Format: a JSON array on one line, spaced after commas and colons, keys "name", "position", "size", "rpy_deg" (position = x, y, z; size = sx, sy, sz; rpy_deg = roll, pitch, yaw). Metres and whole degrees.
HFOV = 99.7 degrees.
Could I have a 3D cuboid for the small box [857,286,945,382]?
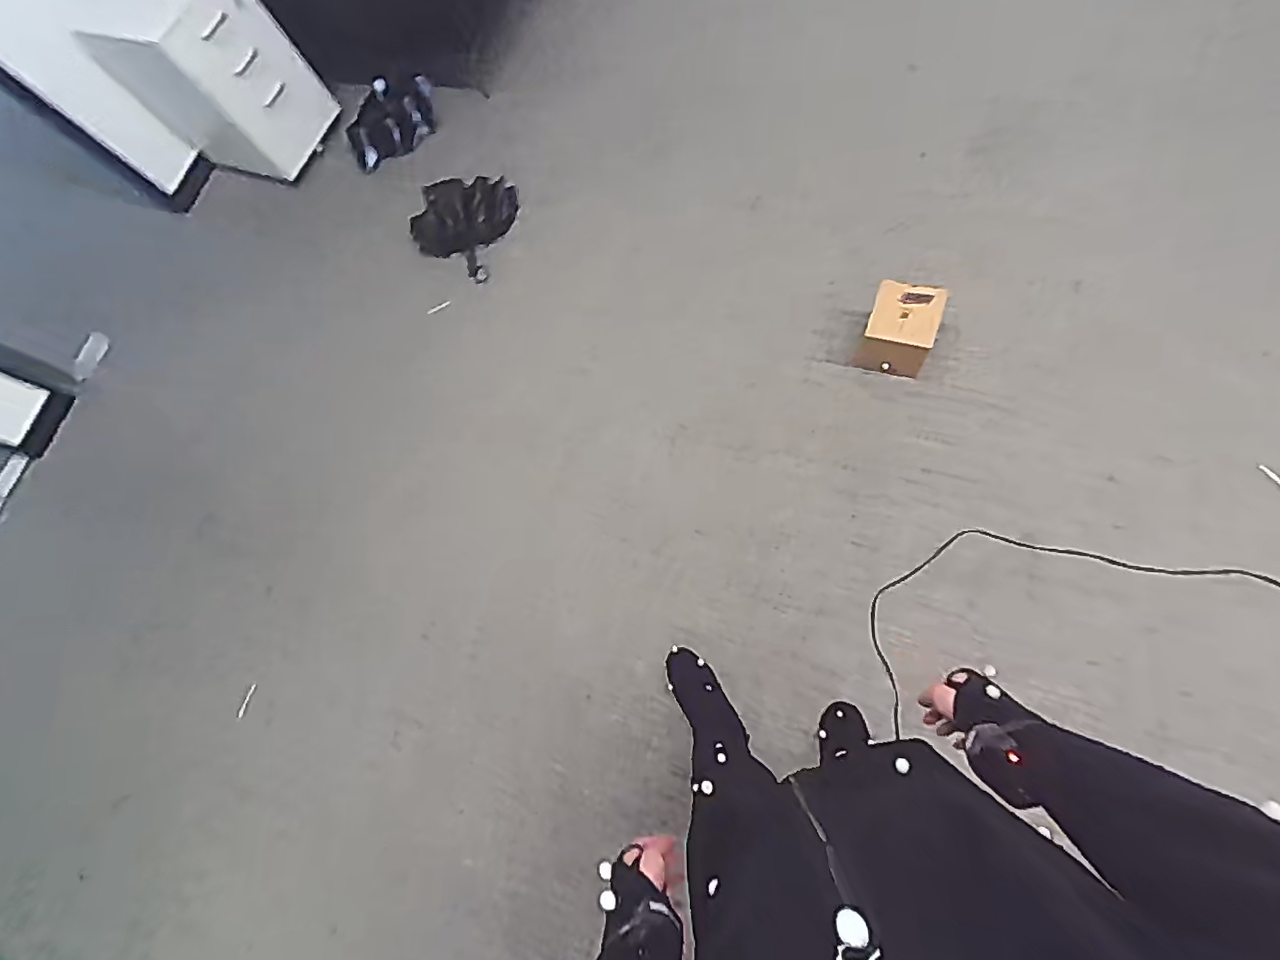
[{"name": "small box", "position": [0.703, -0.394, 1.476], "size": [0.168, 0.176, 0.179], "rpy_deg": [17, 79, 19]}]
